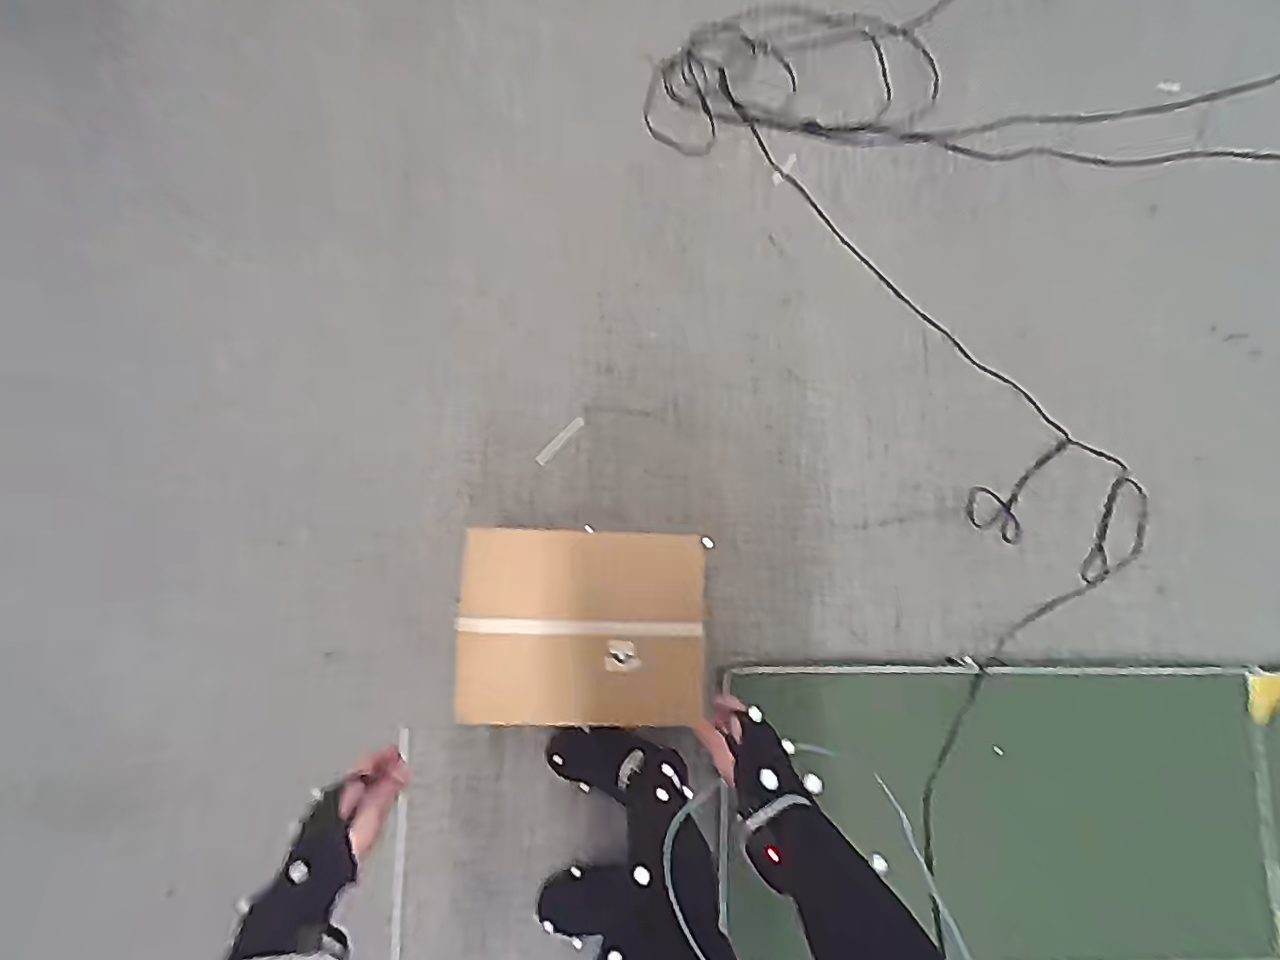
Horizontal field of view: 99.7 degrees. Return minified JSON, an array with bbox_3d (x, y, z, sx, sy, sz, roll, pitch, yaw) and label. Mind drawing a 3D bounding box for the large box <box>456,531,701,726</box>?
[{"bbox_3d":[-0.110,0.268,1.044,0.408,0.320,0.320,2,82,-5],"label":"large box"}]
